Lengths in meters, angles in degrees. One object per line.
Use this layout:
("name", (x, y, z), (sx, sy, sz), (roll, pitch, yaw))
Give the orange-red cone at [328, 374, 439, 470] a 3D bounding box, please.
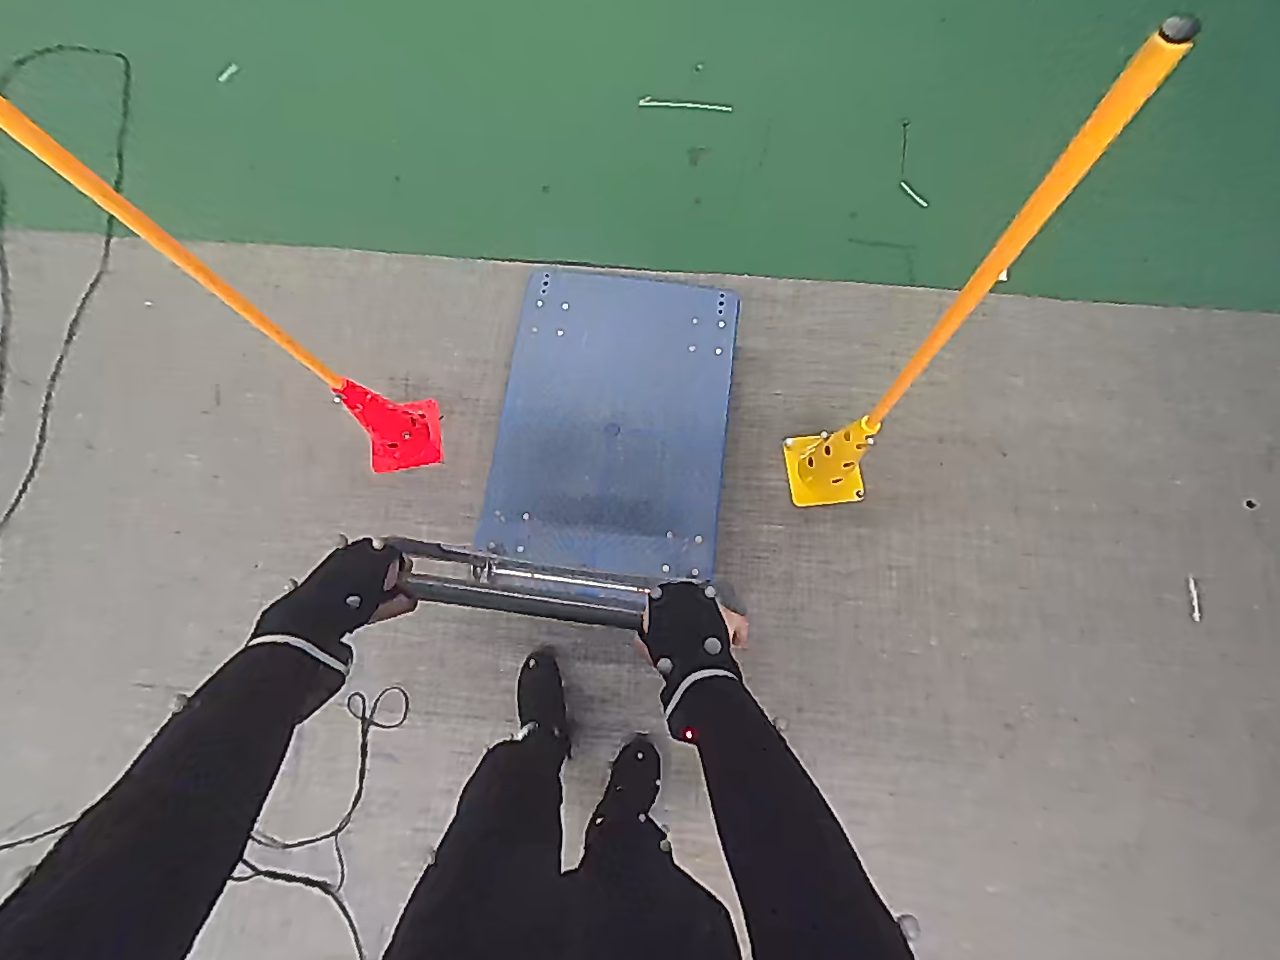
("orange-red cone", (-0.676, -0.174, 1.372), (0.199, 0.360, 0.198), (-10, 75, 0))
